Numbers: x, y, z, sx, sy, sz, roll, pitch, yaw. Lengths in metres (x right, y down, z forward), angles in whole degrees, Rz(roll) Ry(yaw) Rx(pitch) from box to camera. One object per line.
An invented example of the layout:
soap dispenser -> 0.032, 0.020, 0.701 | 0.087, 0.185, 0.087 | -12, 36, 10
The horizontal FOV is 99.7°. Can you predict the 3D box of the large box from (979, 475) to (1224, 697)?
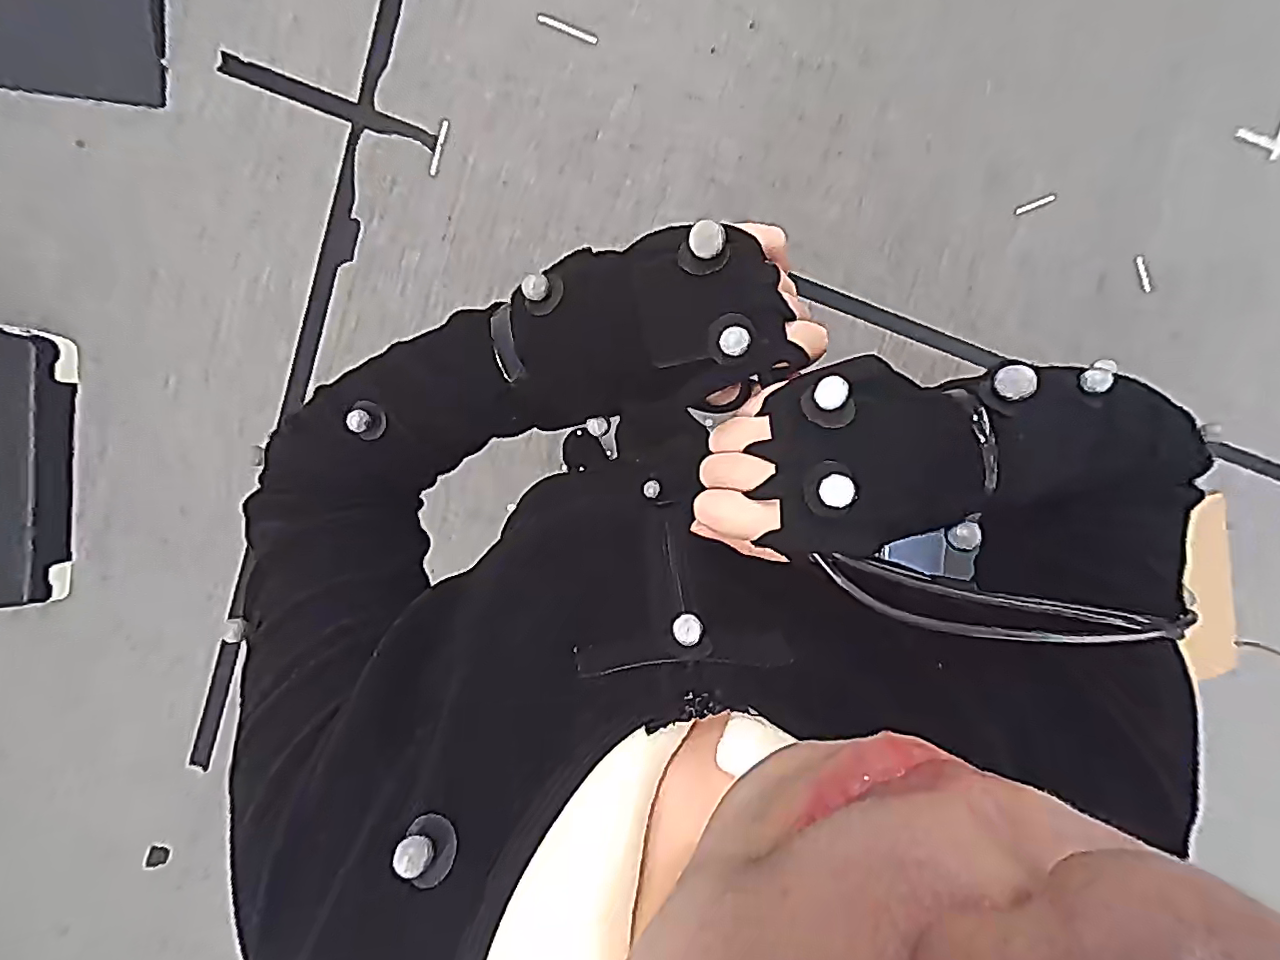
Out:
large box -> 1.078, 0.226, 1.294 | 0.320, 0.320, 0.408 | -12, 98, -4
